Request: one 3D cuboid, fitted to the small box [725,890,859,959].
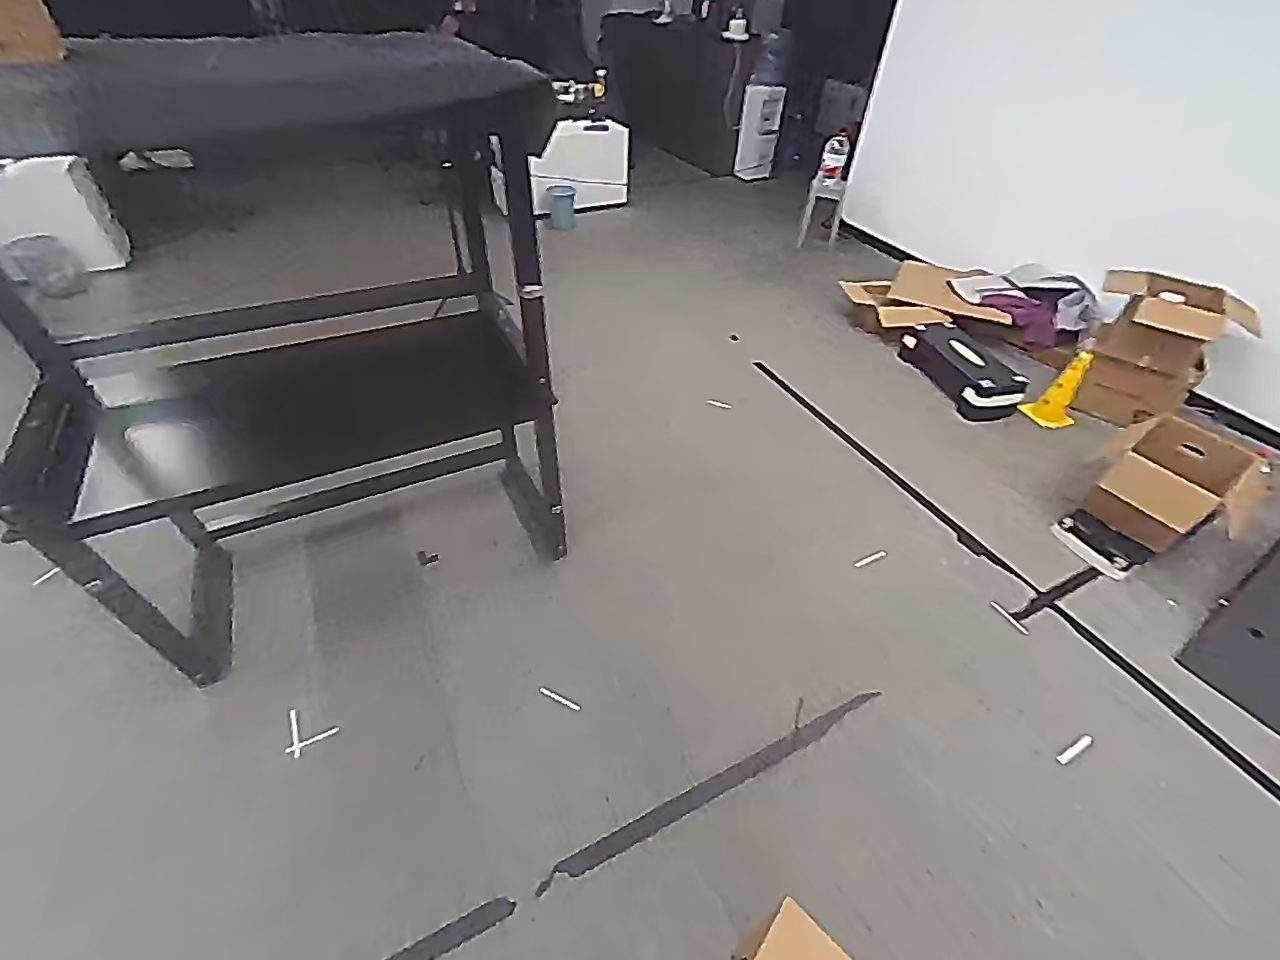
[{"bbox_3d":[0.159,0.614,0.586,0.168,0.176,0.179,35,36,26],"label":"small box"}]

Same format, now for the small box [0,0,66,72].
[{"bbox_3d":[-1.110,-0.793,0.893,0.168,0.176,0.179,-23,51,-24],"label":"small box"}]
